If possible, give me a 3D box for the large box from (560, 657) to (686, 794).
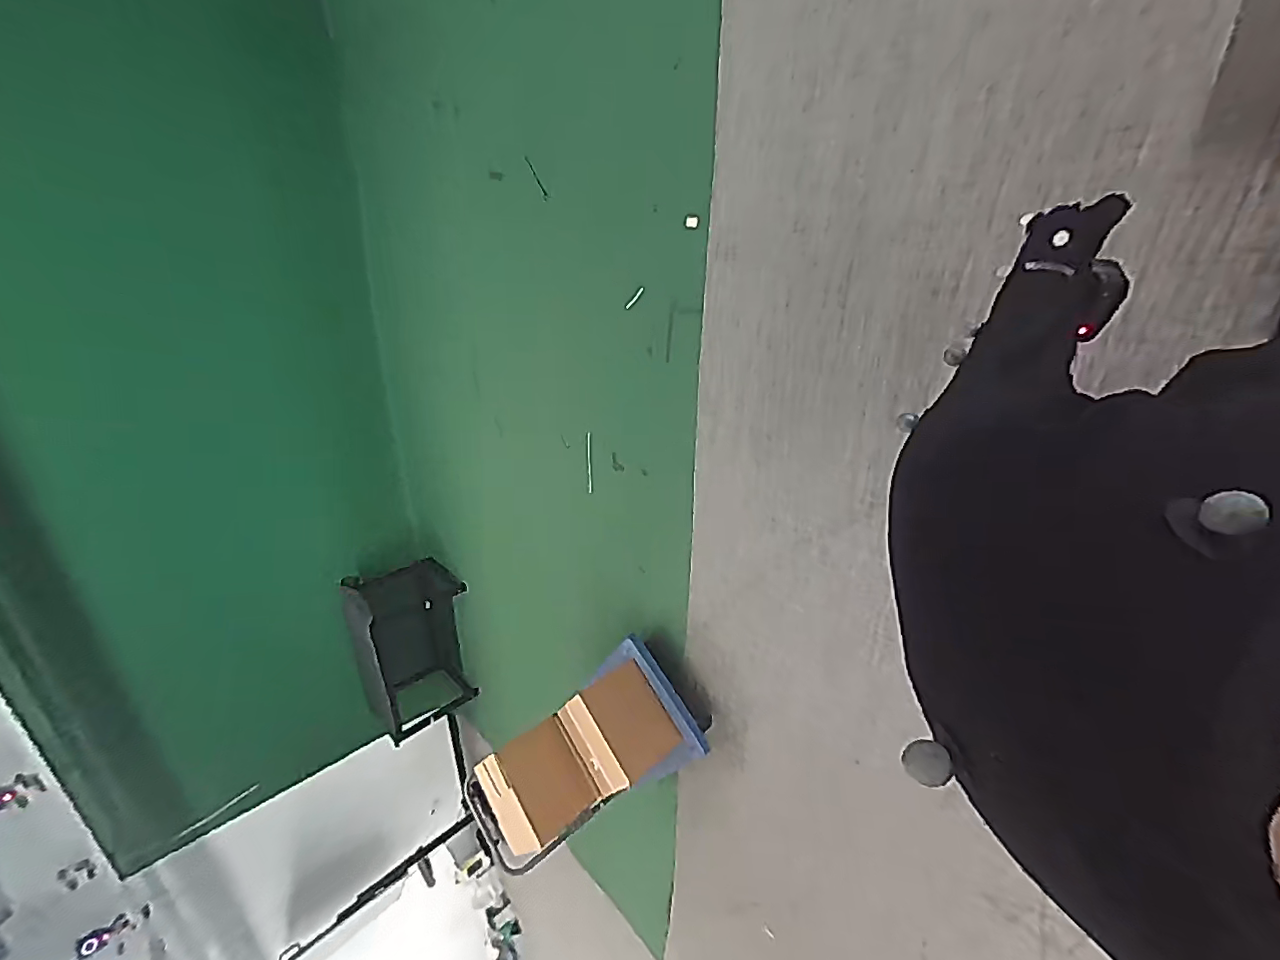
[{"bbox_3d":[-0.080,1.062,2.355,0.408,0.320,0.320,54,139,17],"label":"large box"}]
